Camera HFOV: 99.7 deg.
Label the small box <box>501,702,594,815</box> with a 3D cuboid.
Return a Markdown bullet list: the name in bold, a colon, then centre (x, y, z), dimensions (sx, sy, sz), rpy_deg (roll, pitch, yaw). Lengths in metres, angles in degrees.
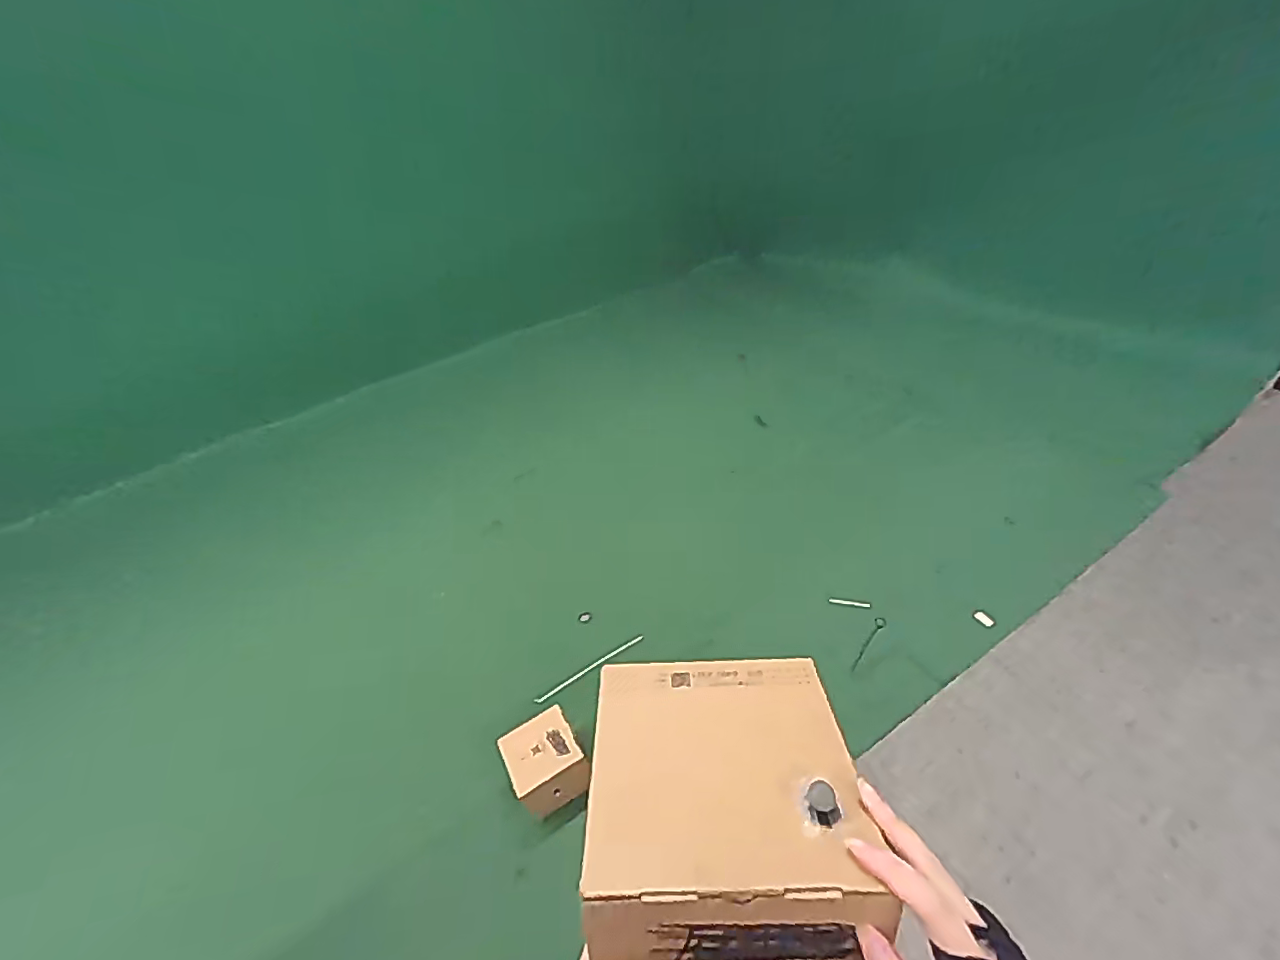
- **small box**: centre (-0.233, 0.722, 1.404), dimensions (0.179, 0.176, 0.168), rpy_deg (-27, 43, -16)
